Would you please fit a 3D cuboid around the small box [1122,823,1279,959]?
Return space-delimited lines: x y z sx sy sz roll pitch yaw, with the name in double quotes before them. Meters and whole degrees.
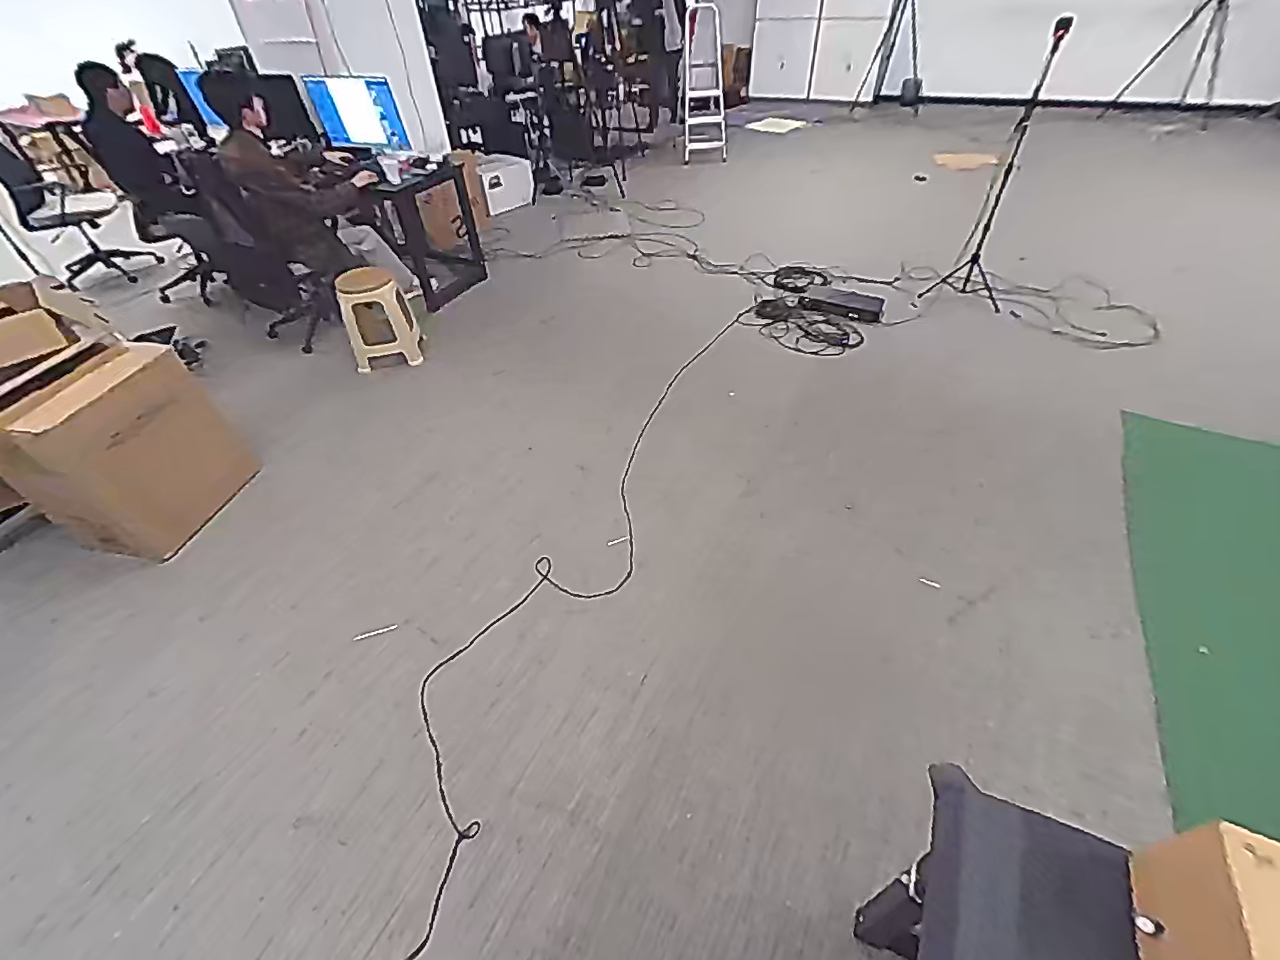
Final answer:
"small box" 0.644 0.501 0.552 0.168 0.176 0.179 19 48 19
